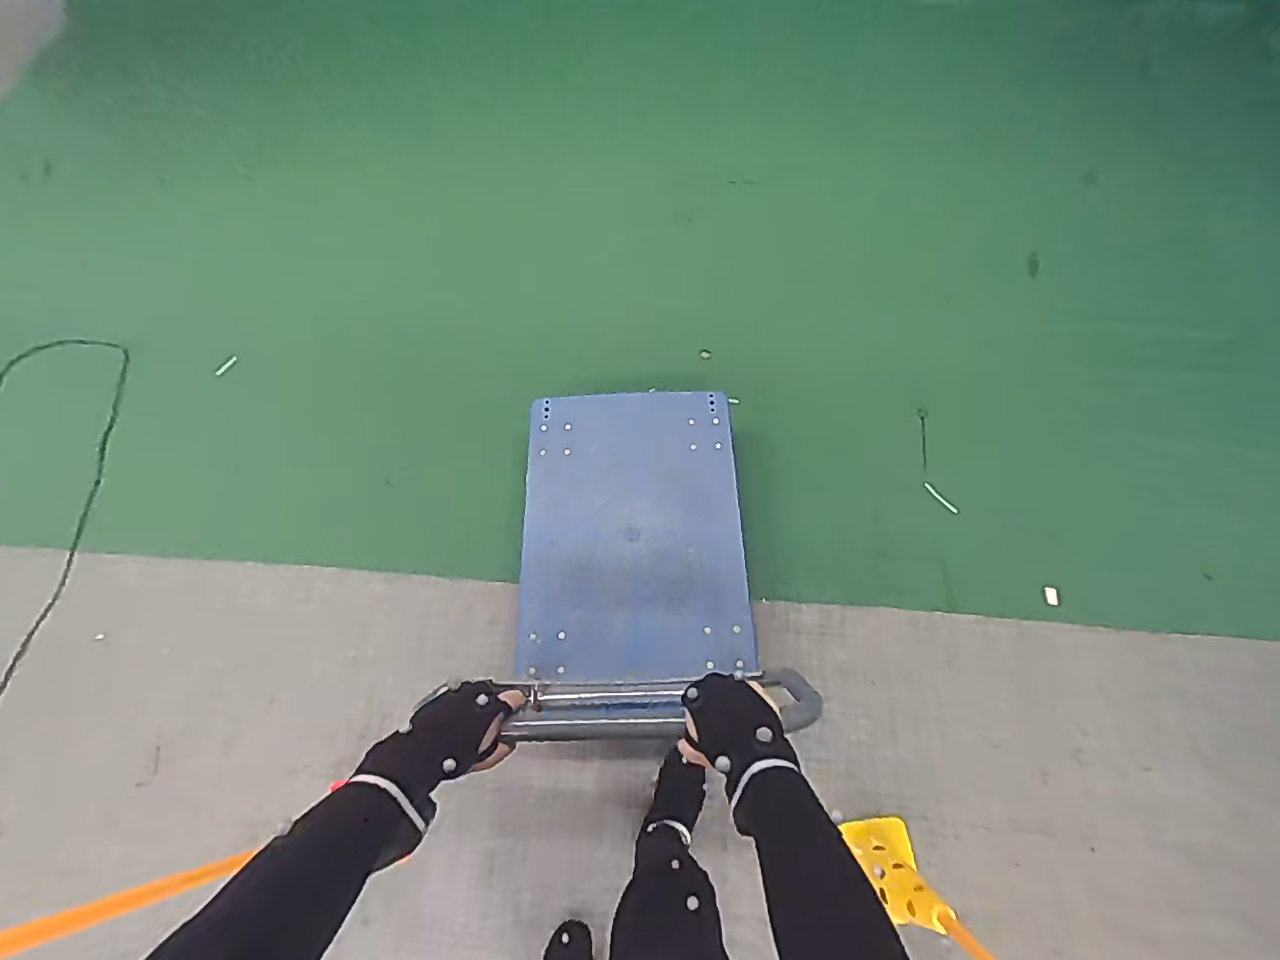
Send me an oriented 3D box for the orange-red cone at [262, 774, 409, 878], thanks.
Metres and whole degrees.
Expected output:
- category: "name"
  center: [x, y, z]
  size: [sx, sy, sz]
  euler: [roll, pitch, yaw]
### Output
- category: "orange-red cone"
  center: [-0.664, 0.754, 1.142]
  size: [0.199, 0.360, 0.198]
  euler: [-10, 65, -1]
